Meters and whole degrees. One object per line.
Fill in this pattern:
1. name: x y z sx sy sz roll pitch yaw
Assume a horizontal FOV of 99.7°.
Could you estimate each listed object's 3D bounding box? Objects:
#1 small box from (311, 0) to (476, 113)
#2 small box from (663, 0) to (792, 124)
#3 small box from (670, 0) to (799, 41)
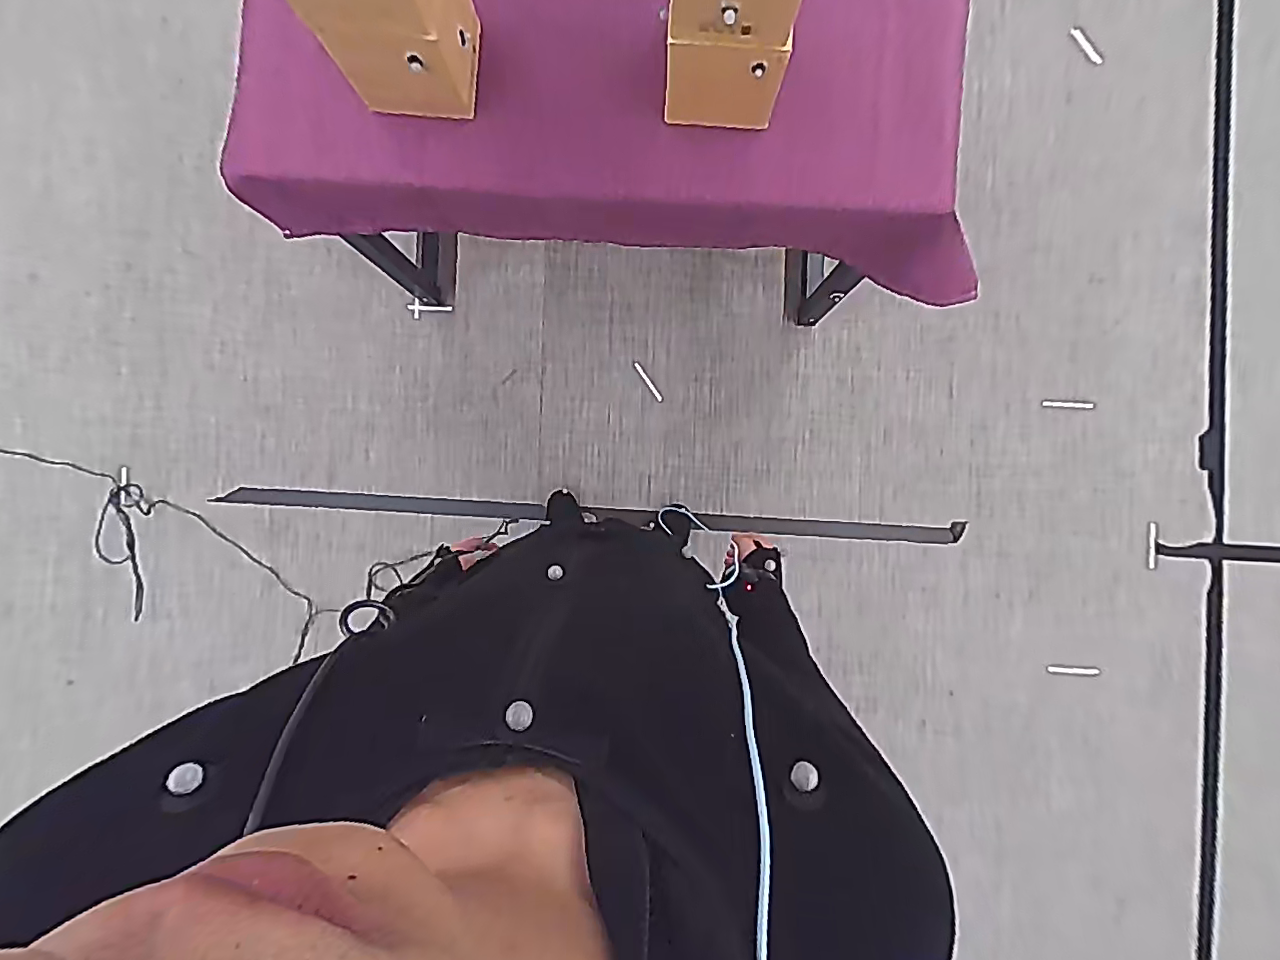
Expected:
1. small box: -0.361 -0.698 0.823 0.179 0.176 0.168 5 90 0
2. small box: 0.127 -0.680 0.824 0.179 0.176 0.168 4 89 0
3. small box: 0.126 -0.693 0.660 0.168 0.176 0.179 4 90 0
